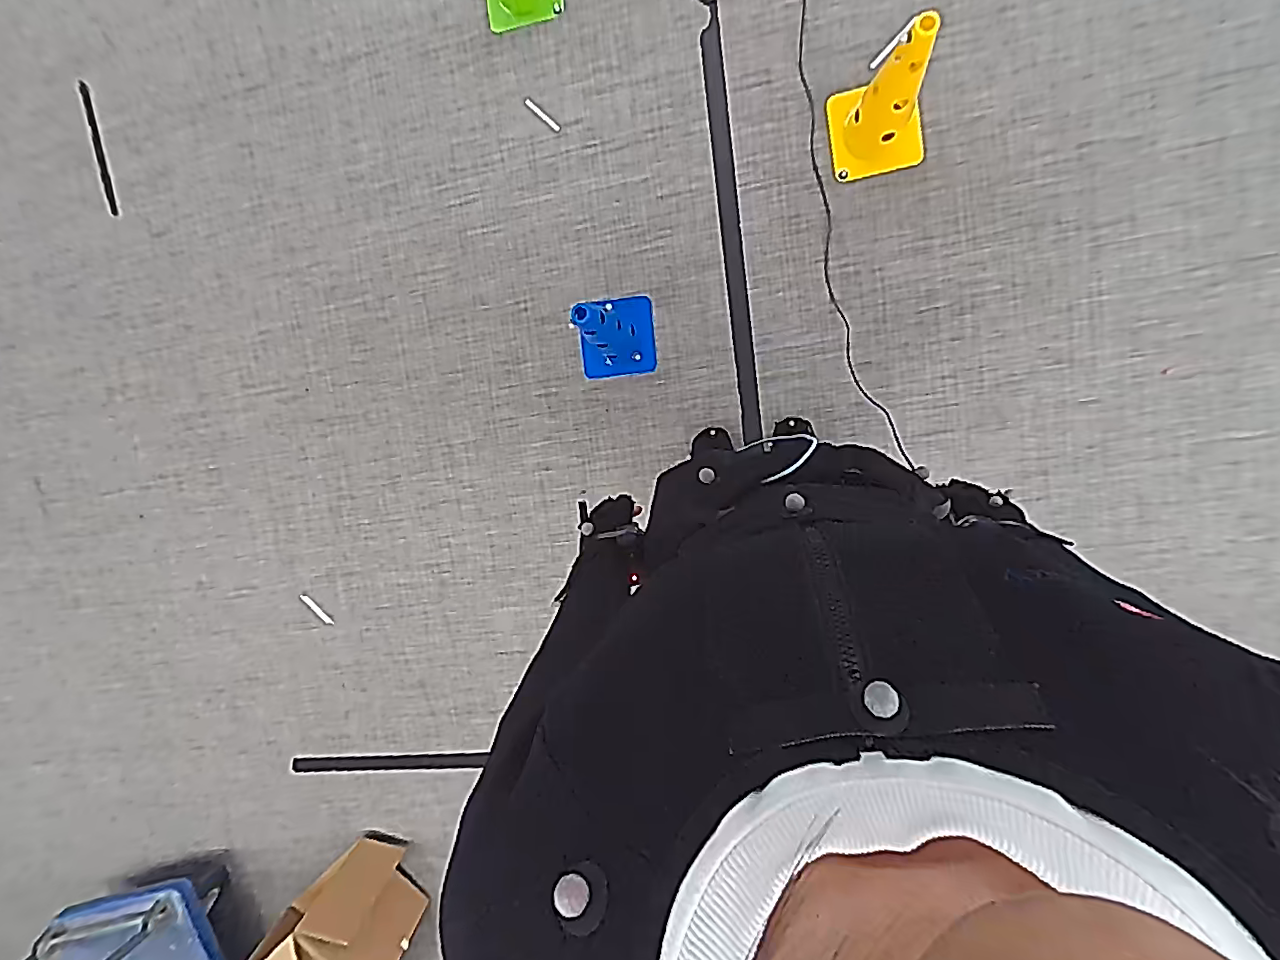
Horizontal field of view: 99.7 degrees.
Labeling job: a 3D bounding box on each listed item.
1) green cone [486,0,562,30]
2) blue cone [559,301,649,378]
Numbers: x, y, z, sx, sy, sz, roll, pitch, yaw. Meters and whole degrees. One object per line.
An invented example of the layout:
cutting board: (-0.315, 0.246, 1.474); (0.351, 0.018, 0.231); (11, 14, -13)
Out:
green cone: (-0.334, -1.242, 1.195); (0.202, 0.368, 0.200); (-6, 96, 12)
blue cone: (-0.103, -0.356, 1.277); (0.192, 0.380, 0.193); (-3, 96, 11)
